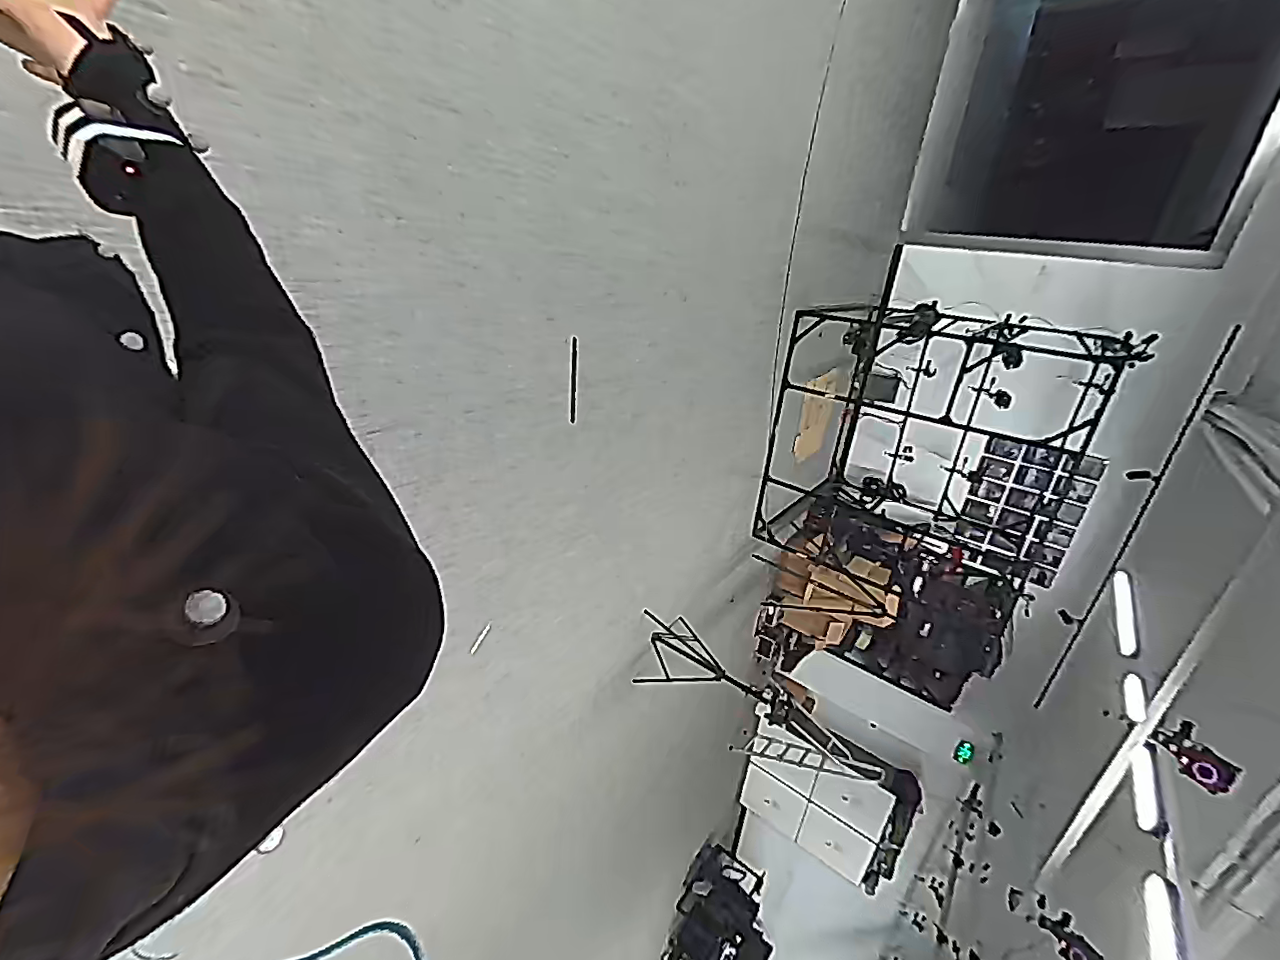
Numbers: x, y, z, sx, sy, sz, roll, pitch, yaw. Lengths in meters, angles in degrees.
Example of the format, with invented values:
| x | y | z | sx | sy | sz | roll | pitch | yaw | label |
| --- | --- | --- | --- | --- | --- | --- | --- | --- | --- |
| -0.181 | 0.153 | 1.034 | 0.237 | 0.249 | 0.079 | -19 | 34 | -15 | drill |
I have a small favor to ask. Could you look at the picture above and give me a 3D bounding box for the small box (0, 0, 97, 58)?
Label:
| x | y | z | sx | sy | sz | roll | pitch | yaw | label |
| --- | --- | --- | --- | --- | --- | --- | --- | --- | --- |
| -0.565 | -0.479 | 0.431 | 0.179 | 0.176 | 0.168 | 10 | 100 | -56 | small box |
